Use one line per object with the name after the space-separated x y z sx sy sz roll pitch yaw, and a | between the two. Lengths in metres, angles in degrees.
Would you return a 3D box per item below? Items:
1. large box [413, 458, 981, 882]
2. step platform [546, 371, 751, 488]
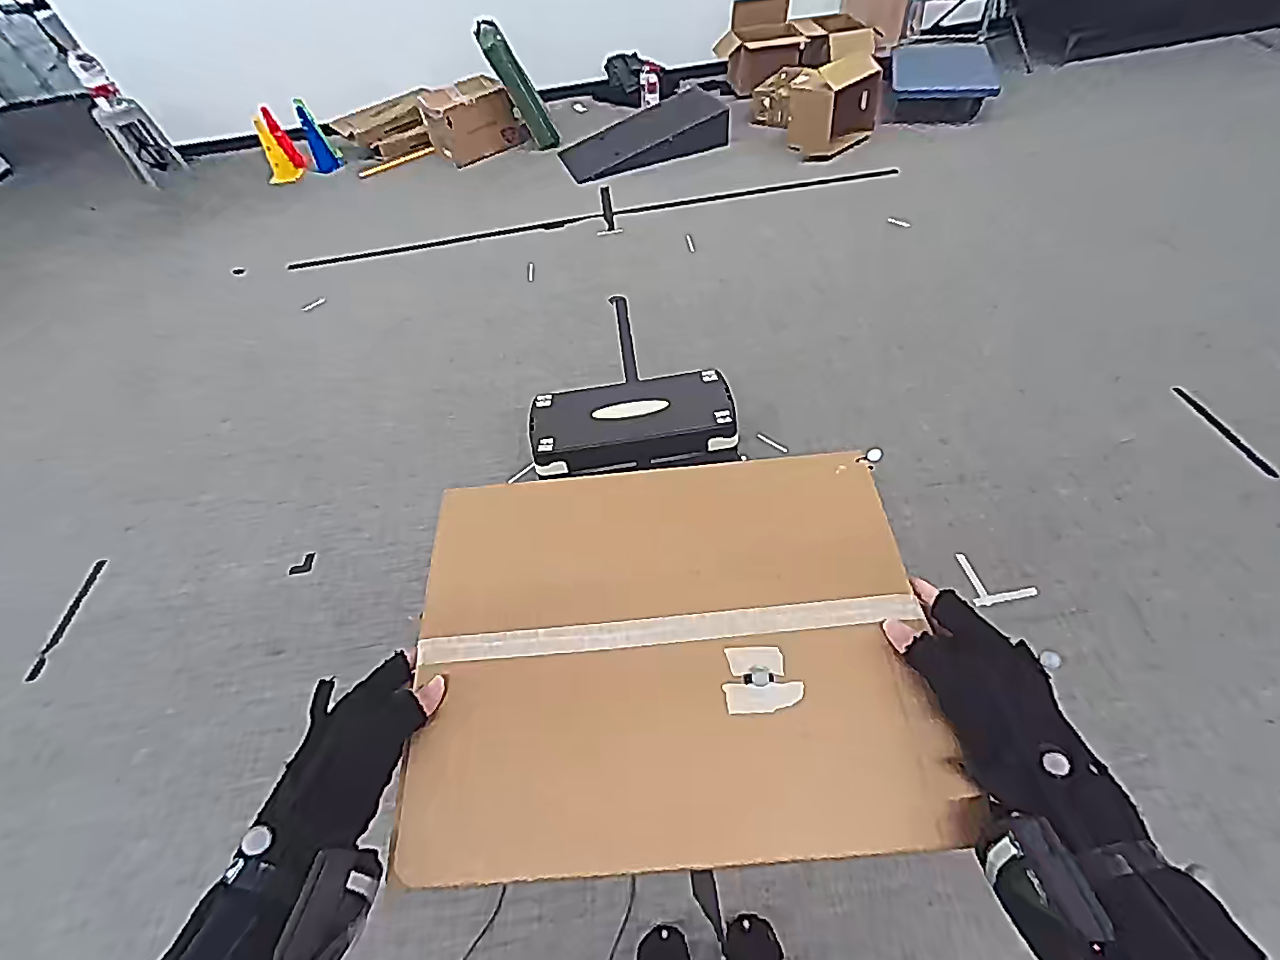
0.036 0.207 0.574 0.408 0.320 0.320 -6 58 1 | large box
0.026 -0.170 1.835 0.684 0.204 0.286 -9 52 -1 | step platform
